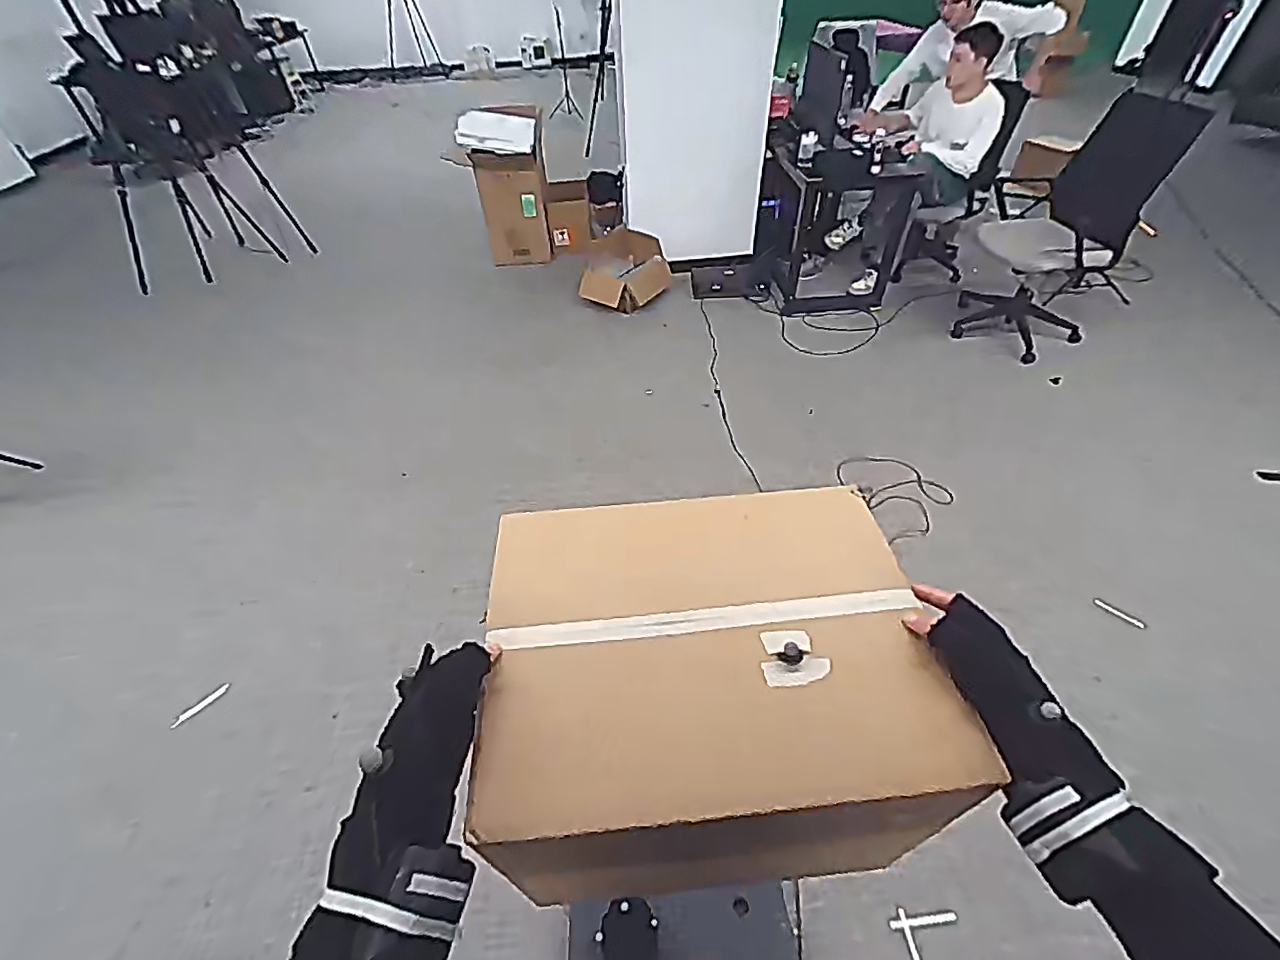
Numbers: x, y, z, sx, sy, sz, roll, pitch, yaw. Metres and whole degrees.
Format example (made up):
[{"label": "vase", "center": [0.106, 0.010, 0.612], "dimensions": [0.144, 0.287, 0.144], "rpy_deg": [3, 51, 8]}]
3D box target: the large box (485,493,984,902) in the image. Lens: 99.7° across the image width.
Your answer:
[{"label": "large box", "center": [0.065, 0.245, 0.624], "dimensions": [0.408, 0.320, 0.320], "rpy_deg": [-5, 45, -3]}]
